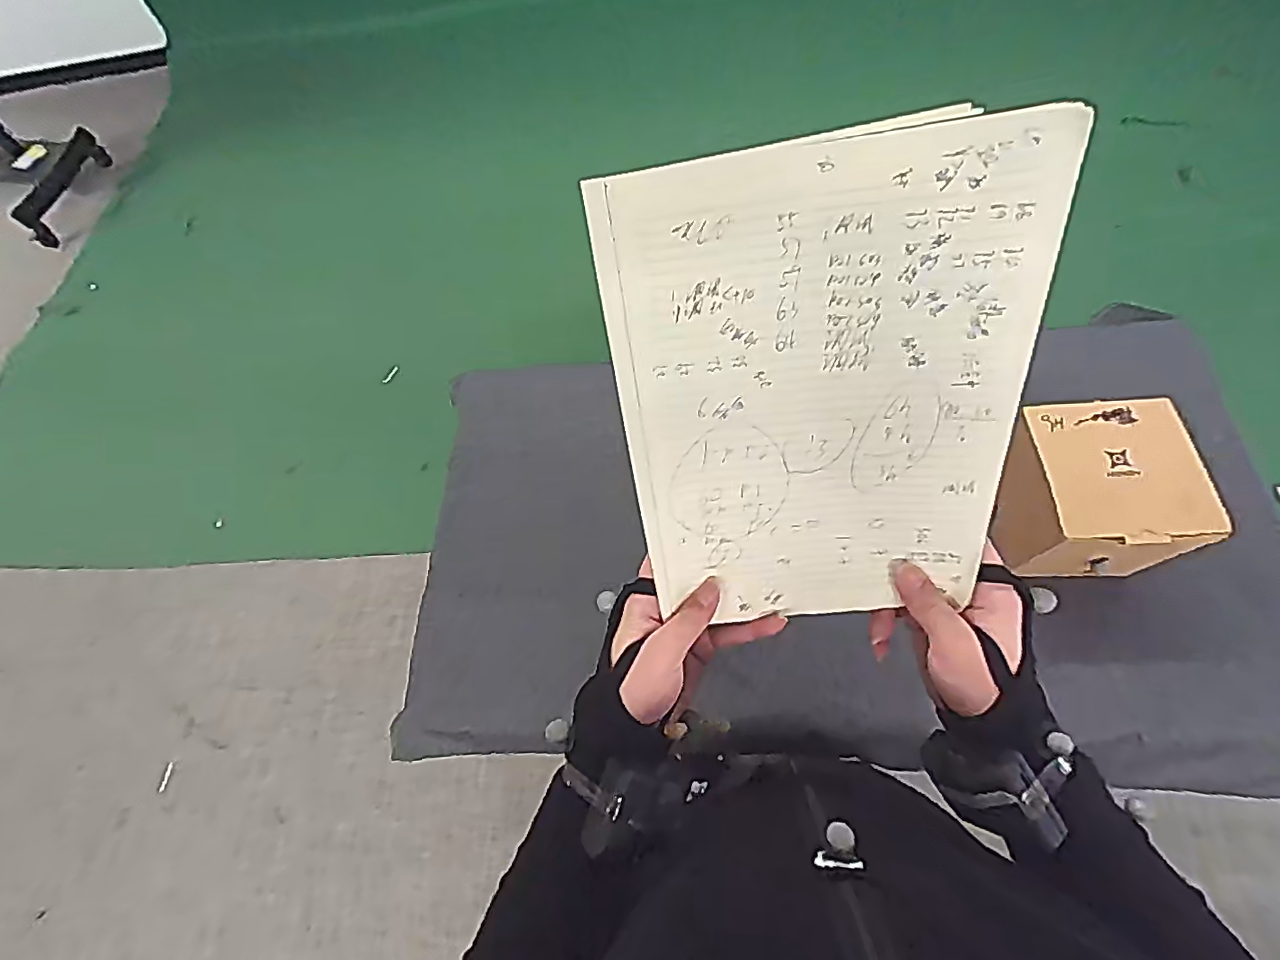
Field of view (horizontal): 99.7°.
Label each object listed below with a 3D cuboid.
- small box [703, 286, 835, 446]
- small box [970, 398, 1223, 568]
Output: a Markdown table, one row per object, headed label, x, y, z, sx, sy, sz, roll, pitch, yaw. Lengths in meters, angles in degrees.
| label | x | y | z | sx | sy | sz | roll | pitch | yaw |
| --- | --- | --- | --- | --- | --- | --- | --- | --- | --- |
| small box | 0.183 | -0.160 | 0.814 | 0.168 | 0.176 | 0.179 | -3 | 65 | 6 |
| small box | 0.561 | 0.015 | 0.697 | 0.168 | 0.176 | 0.179 | -2 | 67 | 7 |
